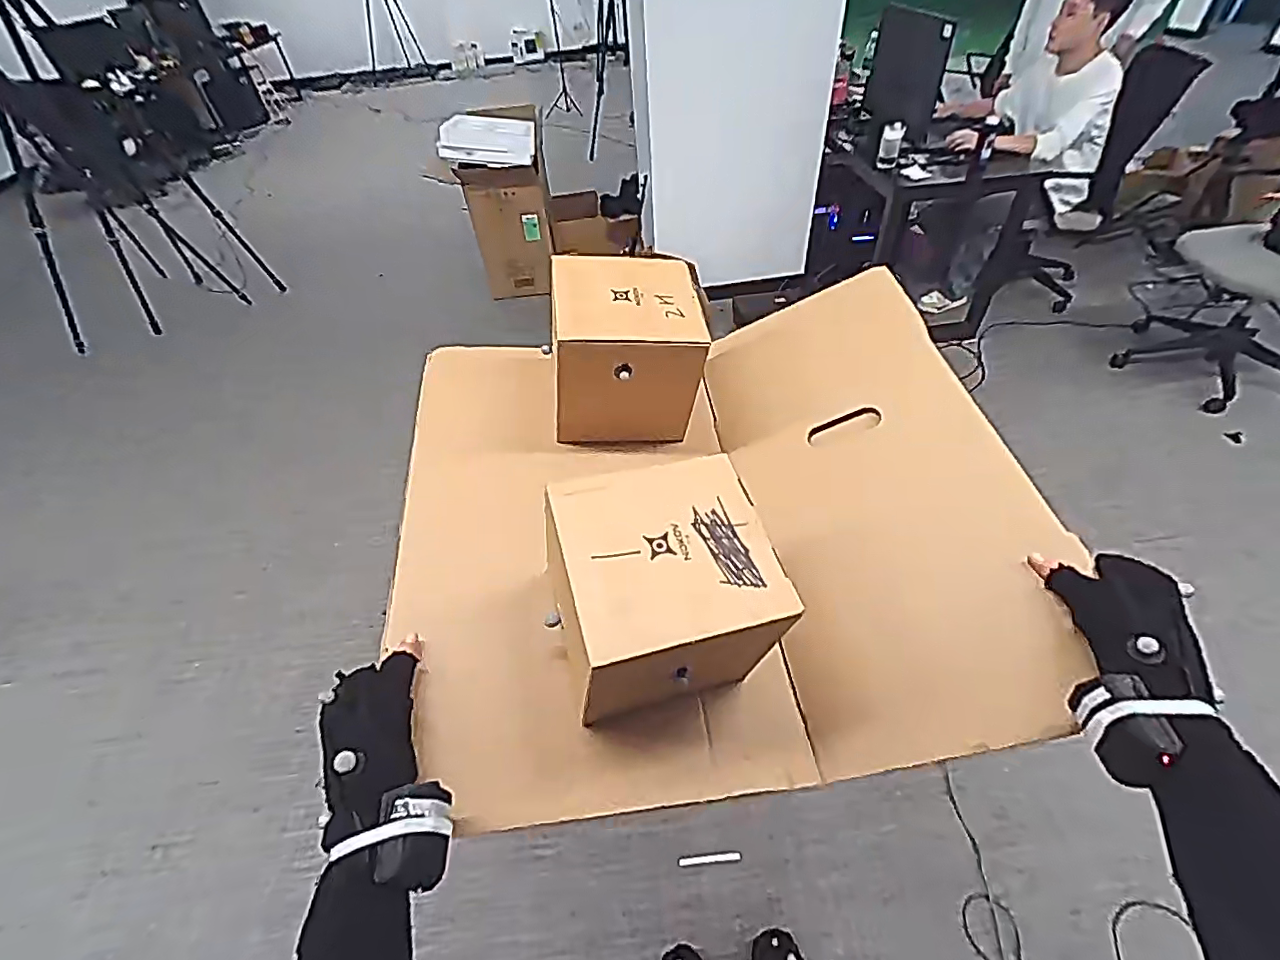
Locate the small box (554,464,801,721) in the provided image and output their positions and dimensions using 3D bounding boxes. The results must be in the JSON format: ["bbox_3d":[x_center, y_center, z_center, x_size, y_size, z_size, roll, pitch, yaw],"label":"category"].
[{"bbox_3d":[0.017,0.109,0.517,0.179,0.176,0.168,-10,55,-15],"label":"small box"}]

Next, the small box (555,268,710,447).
[{"bbox_3d":[-0.022,-0.156,0.714,0.179,0.176,0.168,-1,53,-10],"label":"small box"}]
